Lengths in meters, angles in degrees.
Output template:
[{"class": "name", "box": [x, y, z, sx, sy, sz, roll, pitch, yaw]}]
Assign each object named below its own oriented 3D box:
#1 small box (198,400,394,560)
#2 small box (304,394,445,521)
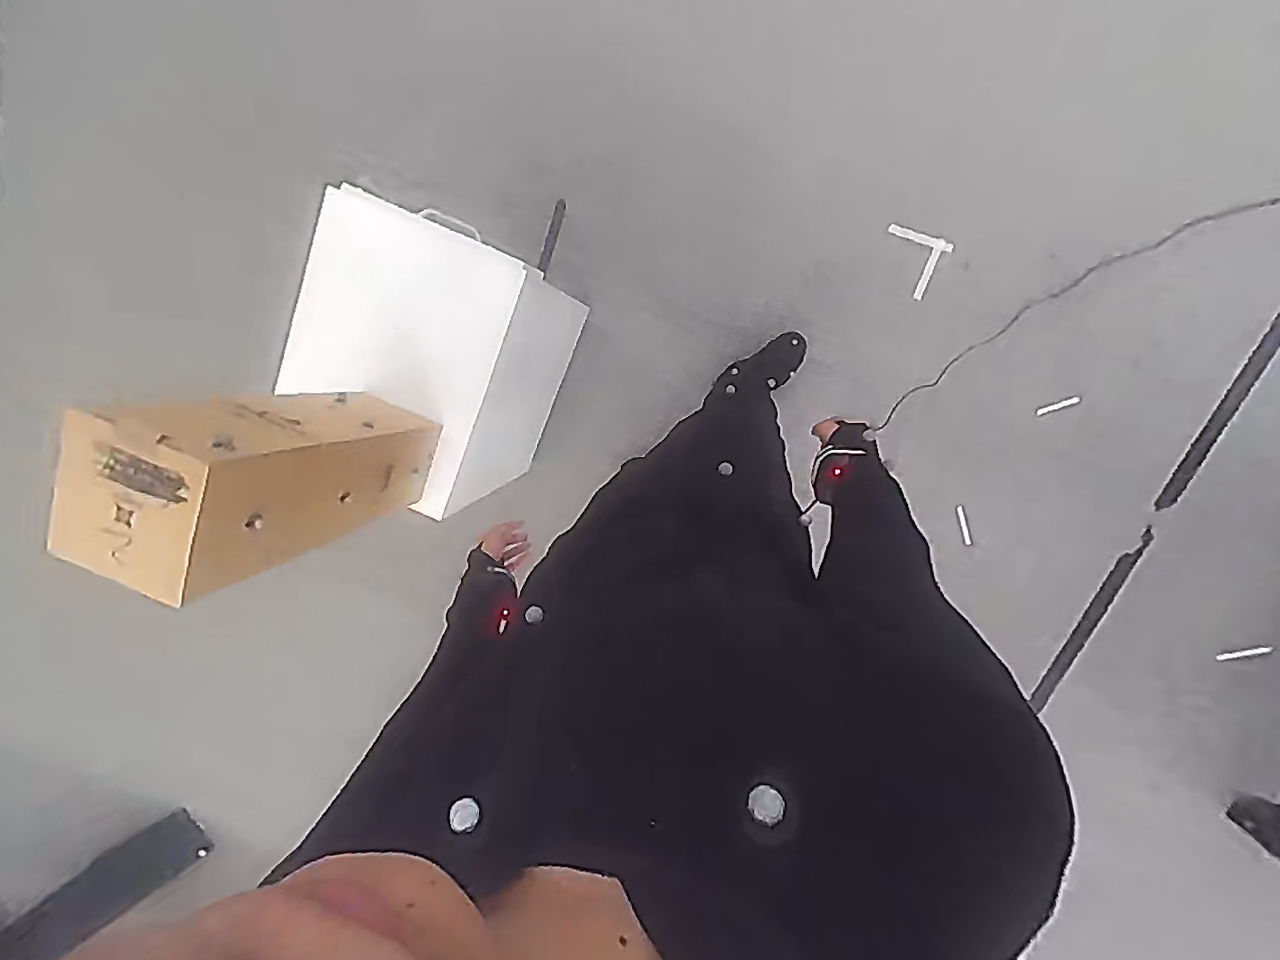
[{"class": "small box", "box": [-0.502, -0.012, 0.812, 0.168, 0.176, 0.179, 23, 104, 3]}, {"class": "small box", "box": [-0.486, -0.048, 0.972, 0.179, 0.176, 0.168, 22, 103, 2]}]
